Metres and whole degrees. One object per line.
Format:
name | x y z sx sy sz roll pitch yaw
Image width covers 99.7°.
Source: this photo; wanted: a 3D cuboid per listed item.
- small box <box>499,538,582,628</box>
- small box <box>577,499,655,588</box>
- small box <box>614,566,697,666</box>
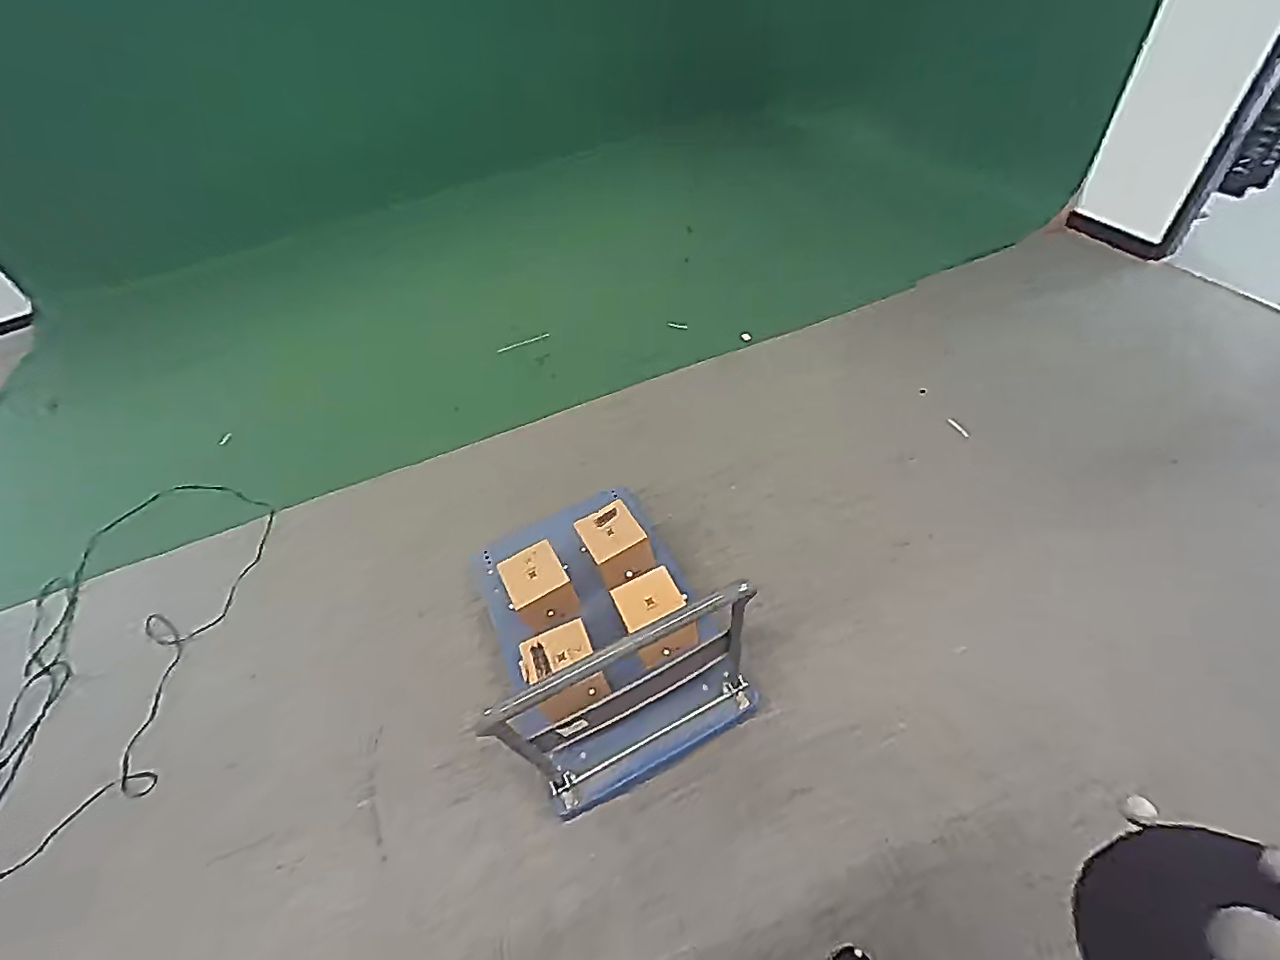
small box | -0.289 0.312 1.595 0.168 0.176 0.179 -27 51 -13
small box | -0.071 0.197 1.649 0.168 0.176 0.179 -28 52 -12
small box | 0.044 0.373 1.480 0.168 0.176 0.179 -24 51 -10
